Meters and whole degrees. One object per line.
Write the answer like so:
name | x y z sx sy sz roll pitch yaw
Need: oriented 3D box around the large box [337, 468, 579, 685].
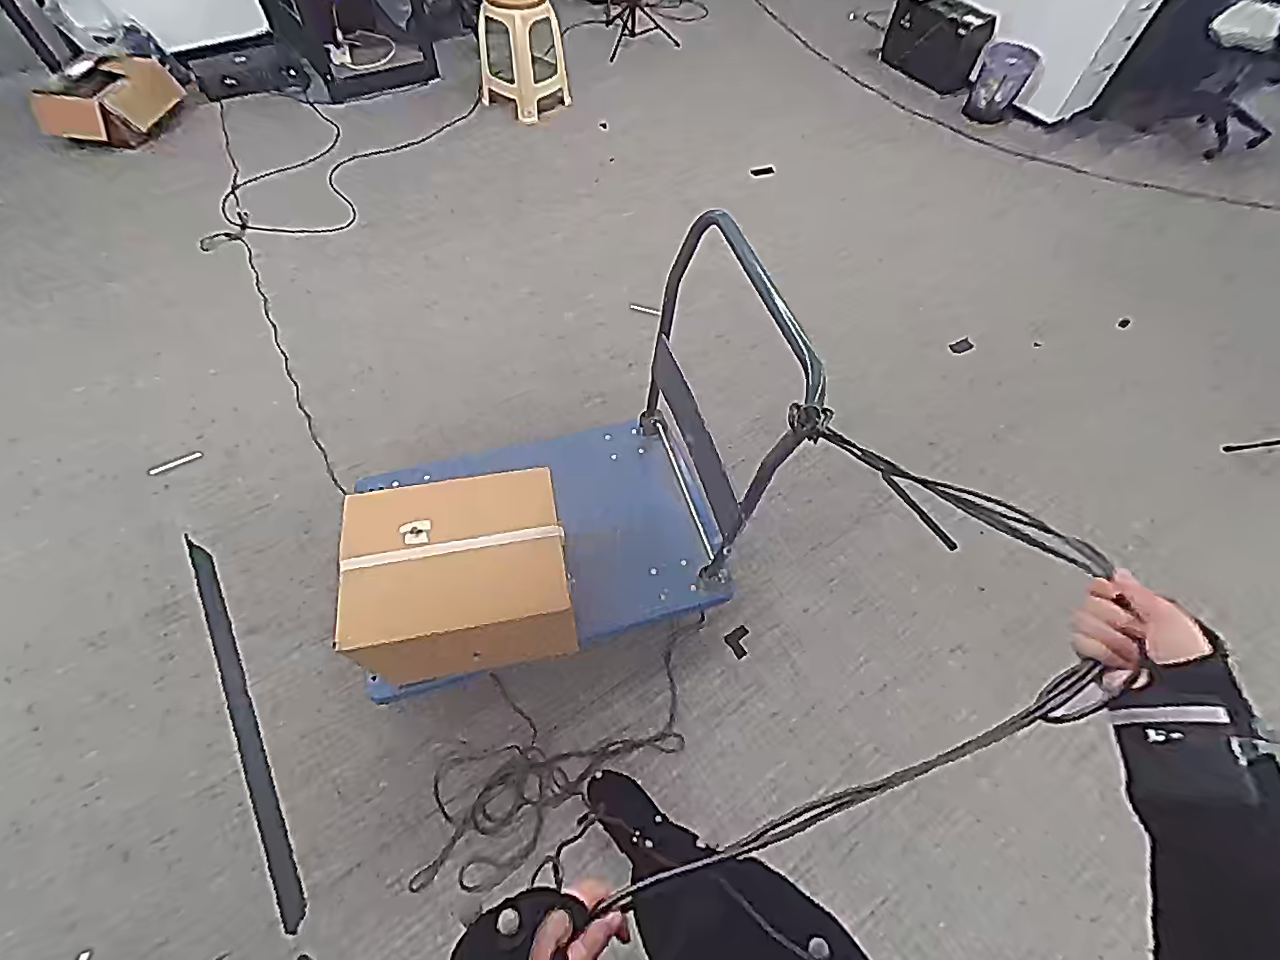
large box | -0.357 0.211 1.142 0.408 0.320 0.320 -9 59 -8
